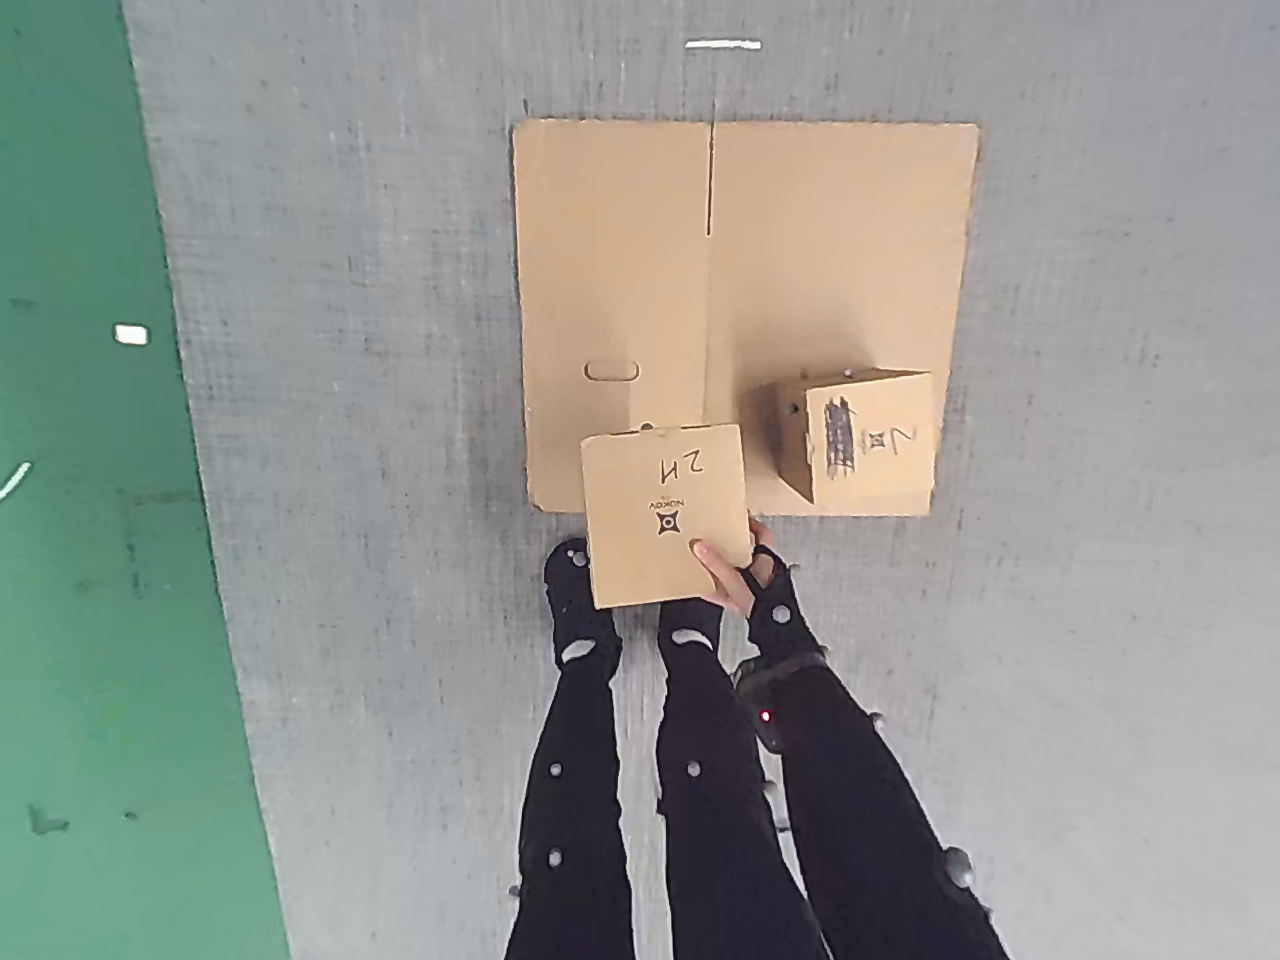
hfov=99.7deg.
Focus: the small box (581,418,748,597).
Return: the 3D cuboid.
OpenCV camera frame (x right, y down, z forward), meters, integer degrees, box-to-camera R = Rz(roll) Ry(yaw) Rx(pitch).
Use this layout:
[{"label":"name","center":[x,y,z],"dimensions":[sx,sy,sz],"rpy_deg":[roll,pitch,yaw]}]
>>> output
[{"label":"small box","center":[0.019,0.026,0.631],"dimensions":[0.168,0.176,0.179],"rpy_deg":[-4,90,-7]}]
